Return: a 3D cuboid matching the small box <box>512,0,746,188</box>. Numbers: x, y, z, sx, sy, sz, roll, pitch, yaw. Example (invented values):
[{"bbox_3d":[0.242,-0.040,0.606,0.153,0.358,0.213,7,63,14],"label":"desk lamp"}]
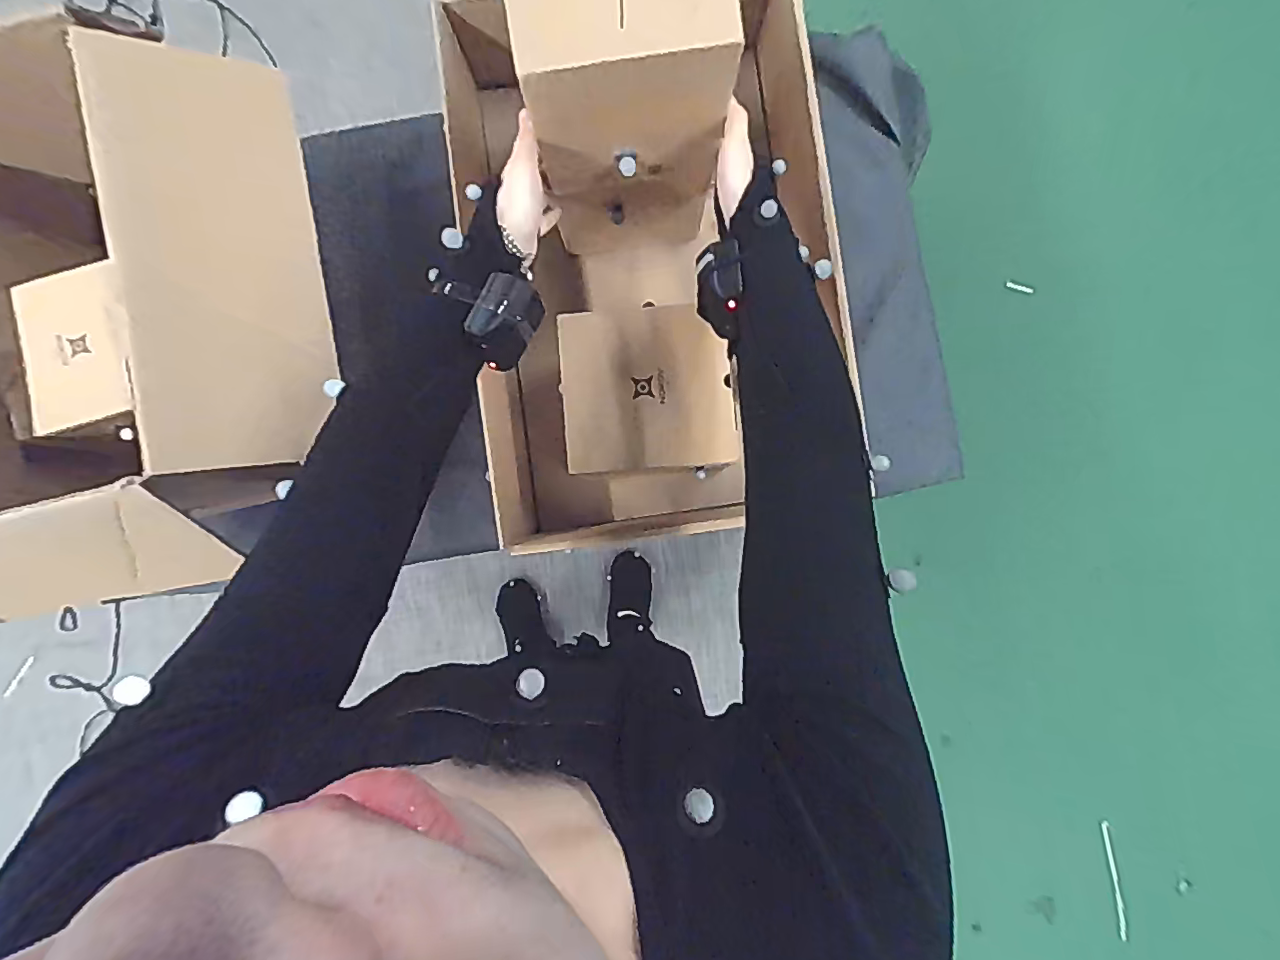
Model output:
[{"bbox_3d":[-0.015,-0.386,0.463,0.168,0.176,0.179,-8,92,1],"label":"small box"}]
